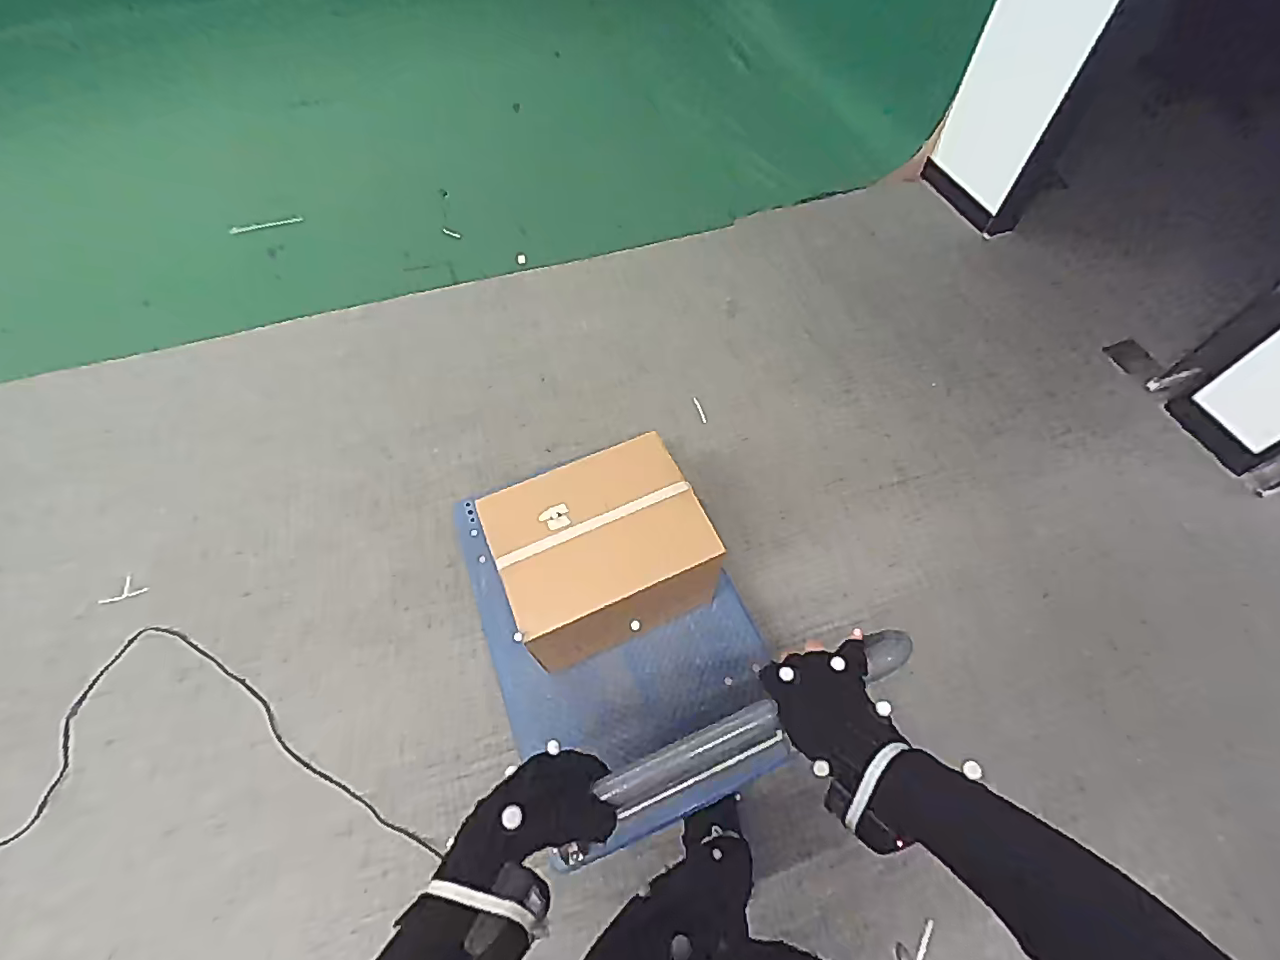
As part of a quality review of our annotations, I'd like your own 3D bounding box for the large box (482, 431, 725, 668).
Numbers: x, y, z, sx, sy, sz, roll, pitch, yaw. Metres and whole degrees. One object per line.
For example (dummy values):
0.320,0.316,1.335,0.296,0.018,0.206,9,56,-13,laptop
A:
-0.073,0.161,1.188,0.408,0.320,0.320,-23,62,-11,large box
